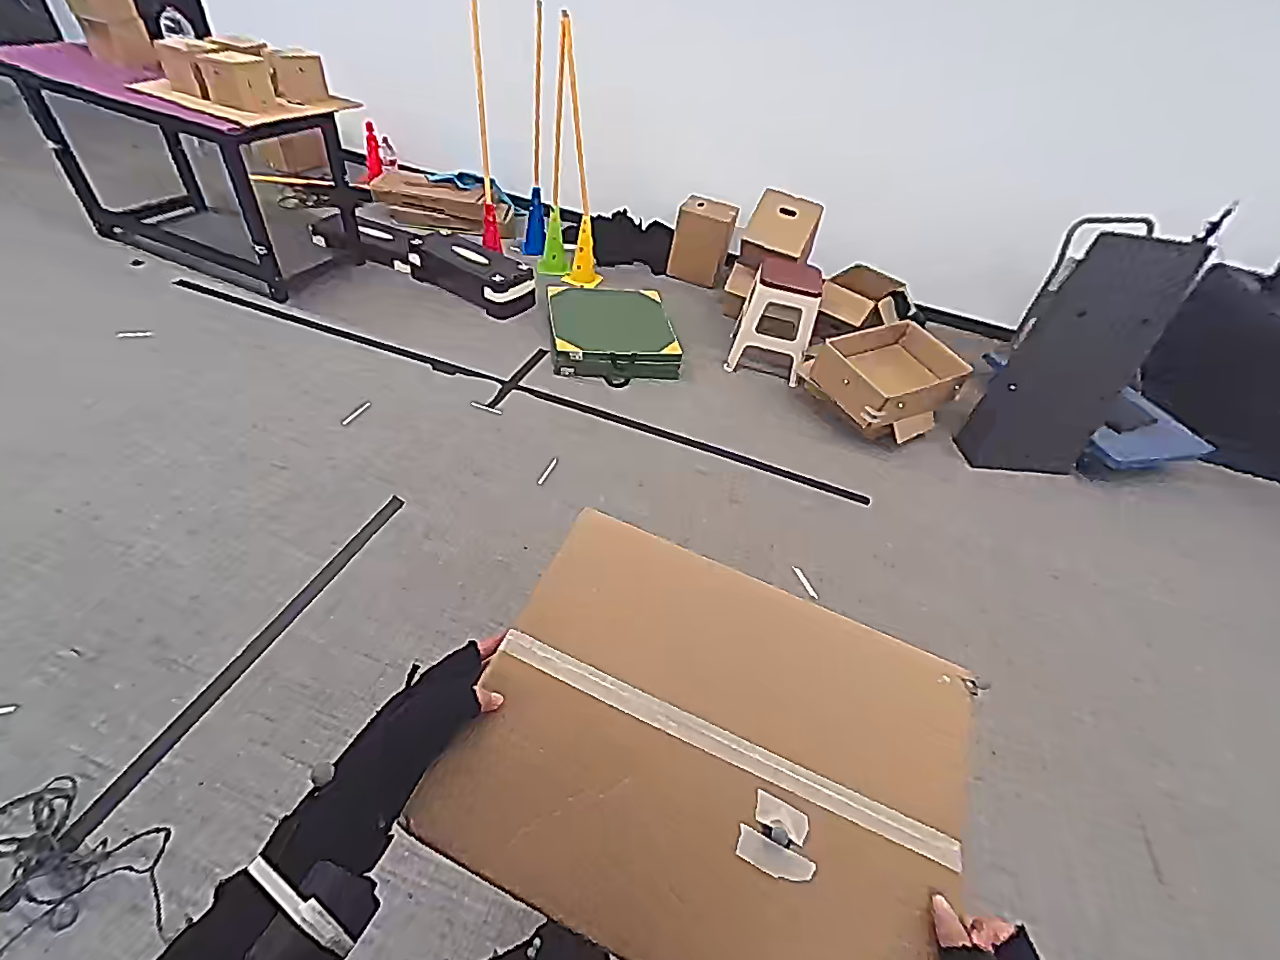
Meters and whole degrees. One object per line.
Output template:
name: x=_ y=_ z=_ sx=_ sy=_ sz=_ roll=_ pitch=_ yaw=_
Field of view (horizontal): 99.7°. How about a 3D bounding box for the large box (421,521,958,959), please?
large box: x=0.052 y=0.309 z=0.592 sx=0.408 sy=0.320 sz=0.320 roll=23 pitch=58 yaw=10
